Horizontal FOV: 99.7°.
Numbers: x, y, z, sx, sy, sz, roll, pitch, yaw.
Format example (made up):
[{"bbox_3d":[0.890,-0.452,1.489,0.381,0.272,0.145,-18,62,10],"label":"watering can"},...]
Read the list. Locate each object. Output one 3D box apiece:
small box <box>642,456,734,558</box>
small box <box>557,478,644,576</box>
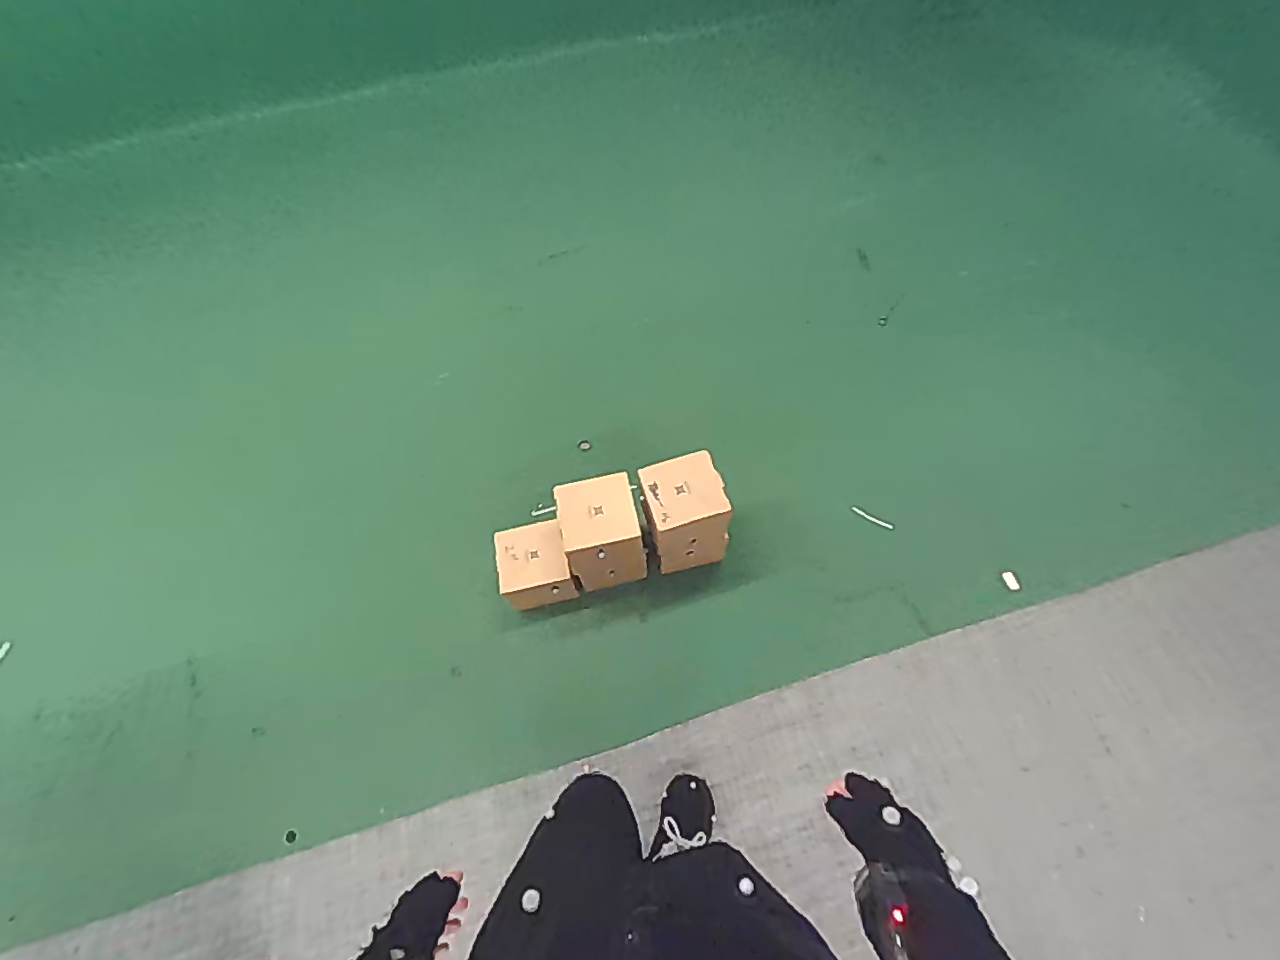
[{"bbox_3d":[0.107,0.070,1.300,0.179,0.176,0.168,-15,62,-6],"label":"small box"},{"bbox_3d":[-0.089,0.116,1.288,0.179,0.176,0.168,-12,63,-2],"label":"small box"}]
